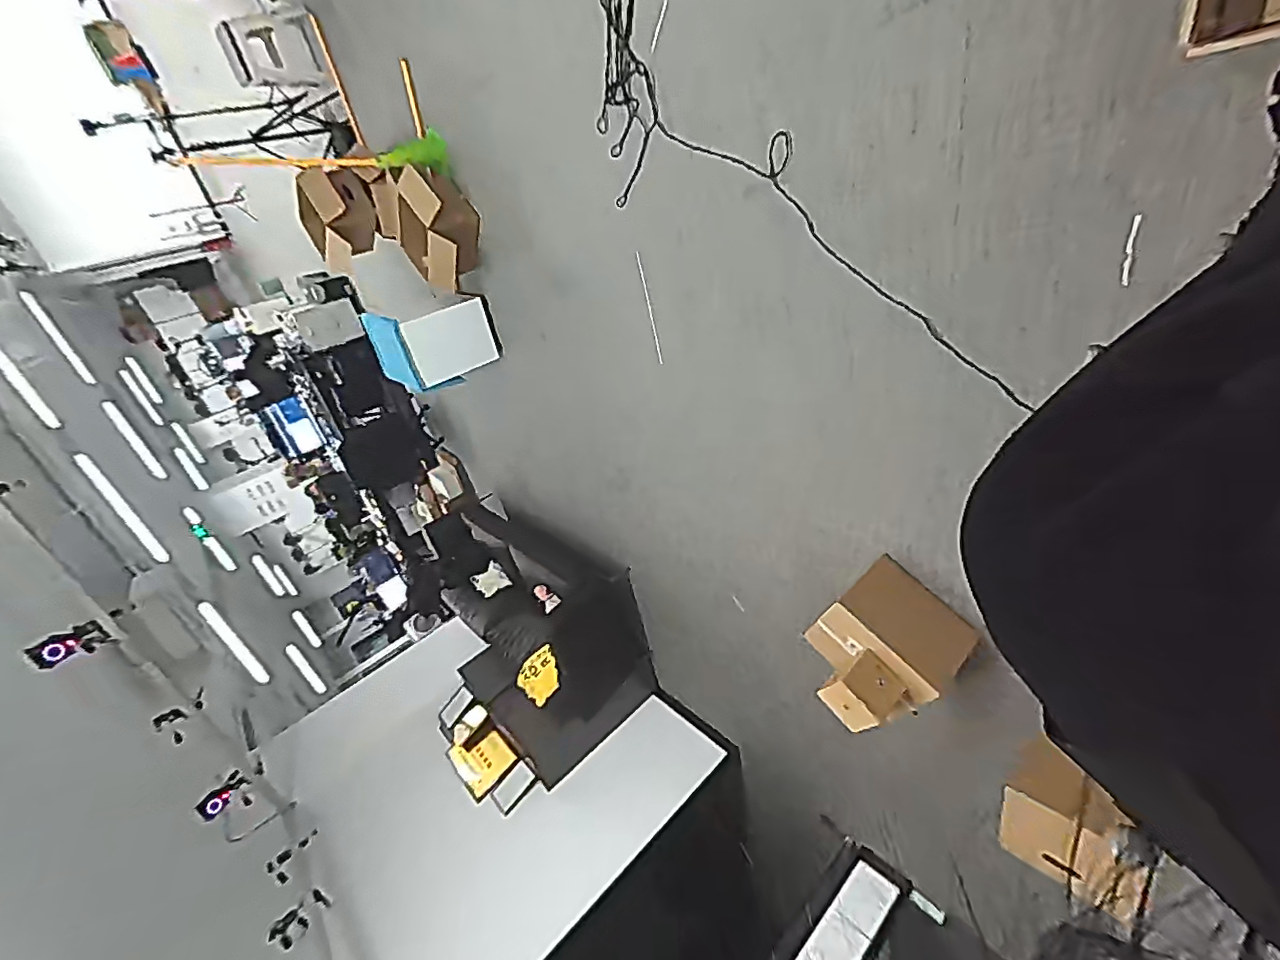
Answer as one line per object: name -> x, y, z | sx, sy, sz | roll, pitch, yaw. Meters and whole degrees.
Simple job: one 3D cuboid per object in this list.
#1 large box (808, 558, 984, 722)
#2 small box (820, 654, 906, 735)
large box -> 0.890, 0.561, 1.914 | 0.408, 0.320, 0.320 | 46, 148, 23
small box -> 0.738, 0.706, 1.784 | 0.168, 0.176, 0.179 | 47, 149, 19
